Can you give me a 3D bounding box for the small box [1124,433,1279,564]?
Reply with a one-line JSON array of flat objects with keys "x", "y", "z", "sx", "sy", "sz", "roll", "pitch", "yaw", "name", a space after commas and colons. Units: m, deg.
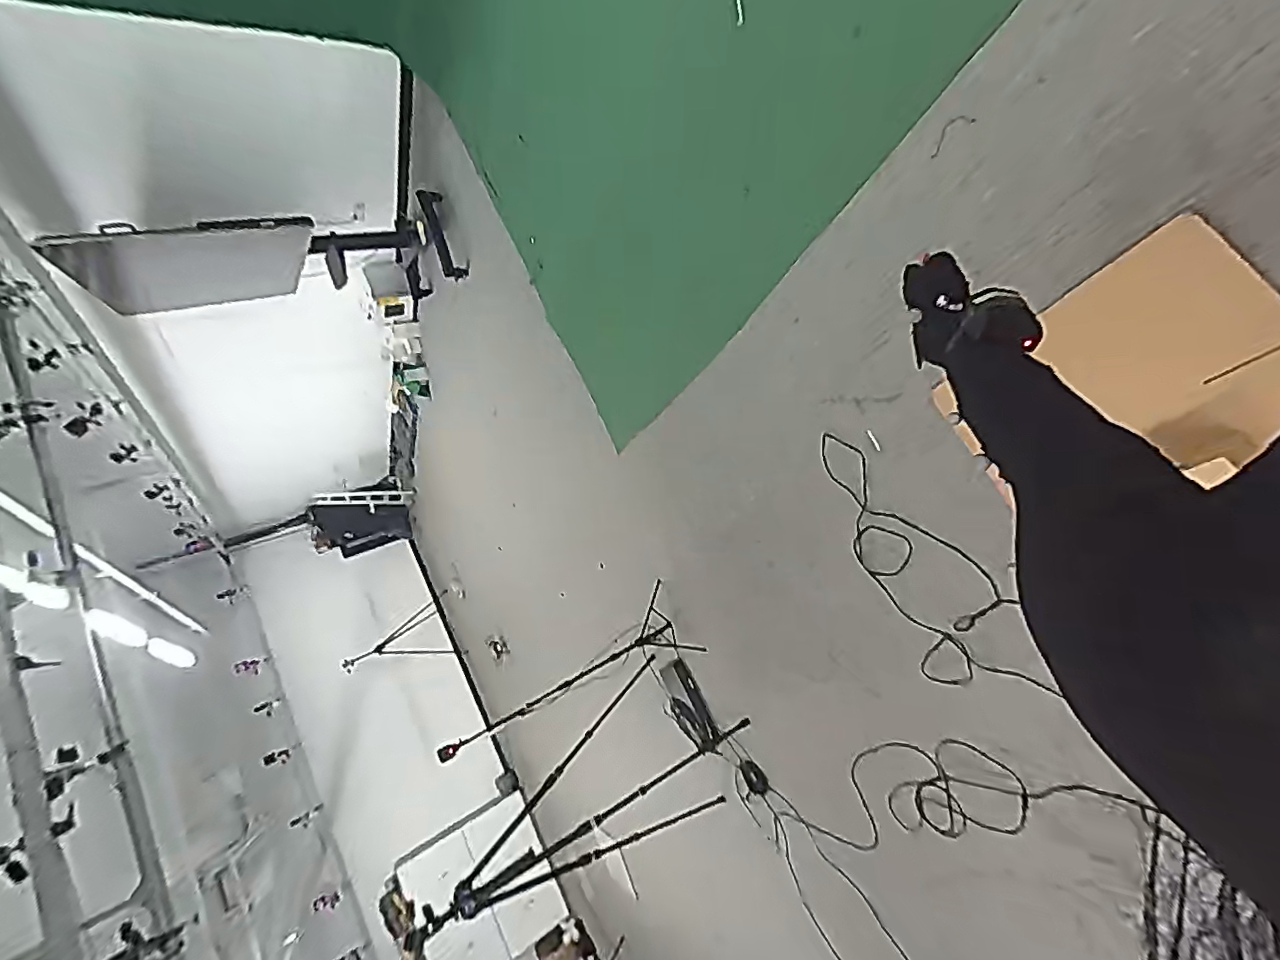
[{"x": 1.104, "y": 0.032, "z": 1.039, "sx": 0.168, "sy": 0.176, "sz": 0.179, "roll": 59, "pitch": 147, "yaw": 15, "name": "small box"}]
